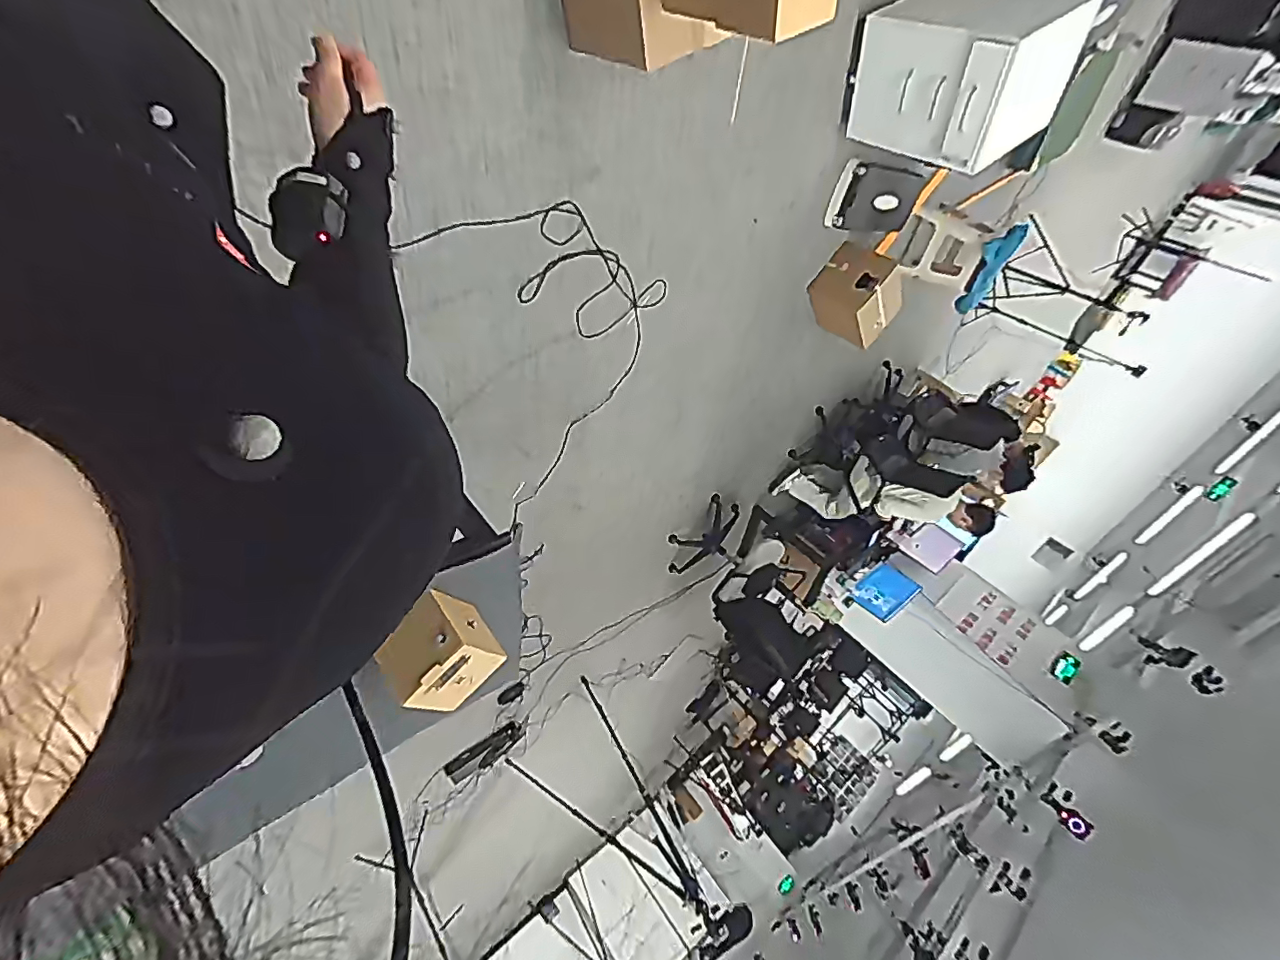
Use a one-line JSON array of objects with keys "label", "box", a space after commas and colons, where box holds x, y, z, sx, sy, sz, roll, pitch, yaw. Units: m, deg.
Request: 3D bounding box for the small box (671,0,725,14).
[{"label": "small box", "box": [0.160, -1.077, 1.084, 0.168, 0.176, 0.179, -35, 147, -17]}]

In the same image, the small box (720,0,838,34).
[{"label": "small box", "box": [0.262, -0.975, 1.009, 0.168, 0.176, 0.179, -35, 145, -17]}]
